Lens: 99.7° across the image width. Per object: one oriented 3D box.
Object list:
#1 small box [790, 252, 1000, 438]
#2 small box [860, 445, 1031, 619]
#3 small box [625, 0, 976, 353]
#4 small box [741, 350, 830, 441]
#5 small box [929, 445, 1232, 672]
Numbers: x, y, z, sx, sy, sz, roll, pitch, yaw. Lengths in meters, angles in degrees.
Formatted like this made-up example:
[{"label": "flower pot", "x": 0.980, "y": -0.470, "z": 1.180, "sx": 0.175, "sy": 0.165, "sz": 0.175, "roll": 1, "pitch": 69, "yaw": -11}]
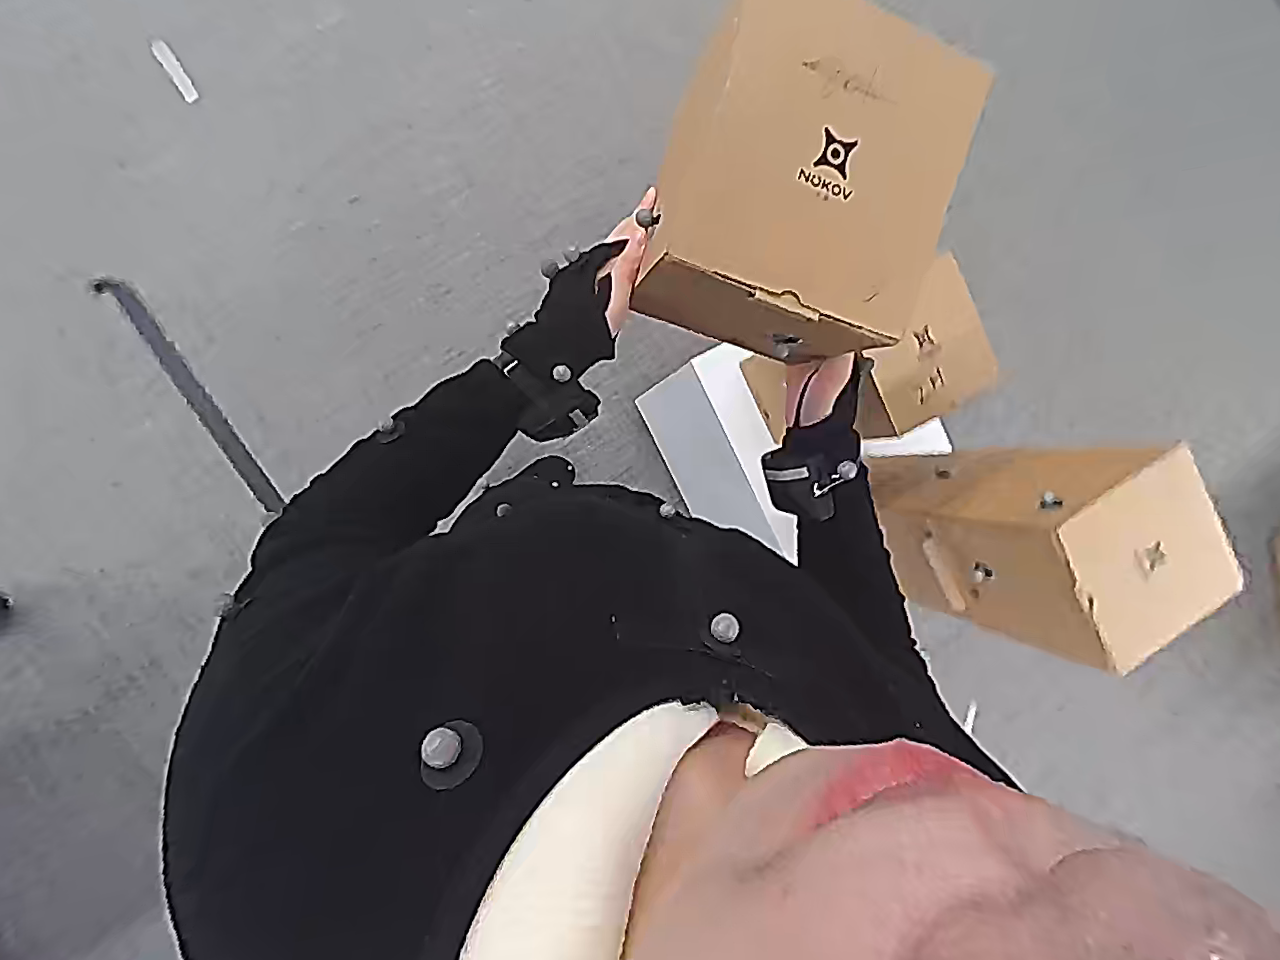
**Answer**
[{"label": "small box", "x": 0.326, "y": -0.168, "z": 0.730, "sx": 0.168, "sy": 0.176, "sz": 0.179, "roll": -27, "pitch": 97, "yaw": -8}, {"label": "small box", "x": 0.441, "y": 0.065, "z": 0.760, "sx": 0.179, "sy": 0.176, "sz": 0.168, "roll": -29, "pitch": 96, "yaw": -9}, {"label": "small box", "x": 0.093, "y": -0.203, "z": 0.401, "sx": 0.168, "sy": 0.176, "sz": 0.179, "roll": 15, "pitch": 95, "yaw": -13}, {"label": "small box", "x": 0.298, "y": -0.174, "z": 0.892, "sx": 0.179, "sy": 0.176, "sz": 0.168, "roll": -27, "pitch": 96, "yaw": -10}, {"label": "small box", "x": 0.470, "y": 0.071, "z": 0.600, "sx": 0.179, "sy": 0.176, "sz": 0.168, "roll": -29, "pitch": 97, "yaw": -8}]
